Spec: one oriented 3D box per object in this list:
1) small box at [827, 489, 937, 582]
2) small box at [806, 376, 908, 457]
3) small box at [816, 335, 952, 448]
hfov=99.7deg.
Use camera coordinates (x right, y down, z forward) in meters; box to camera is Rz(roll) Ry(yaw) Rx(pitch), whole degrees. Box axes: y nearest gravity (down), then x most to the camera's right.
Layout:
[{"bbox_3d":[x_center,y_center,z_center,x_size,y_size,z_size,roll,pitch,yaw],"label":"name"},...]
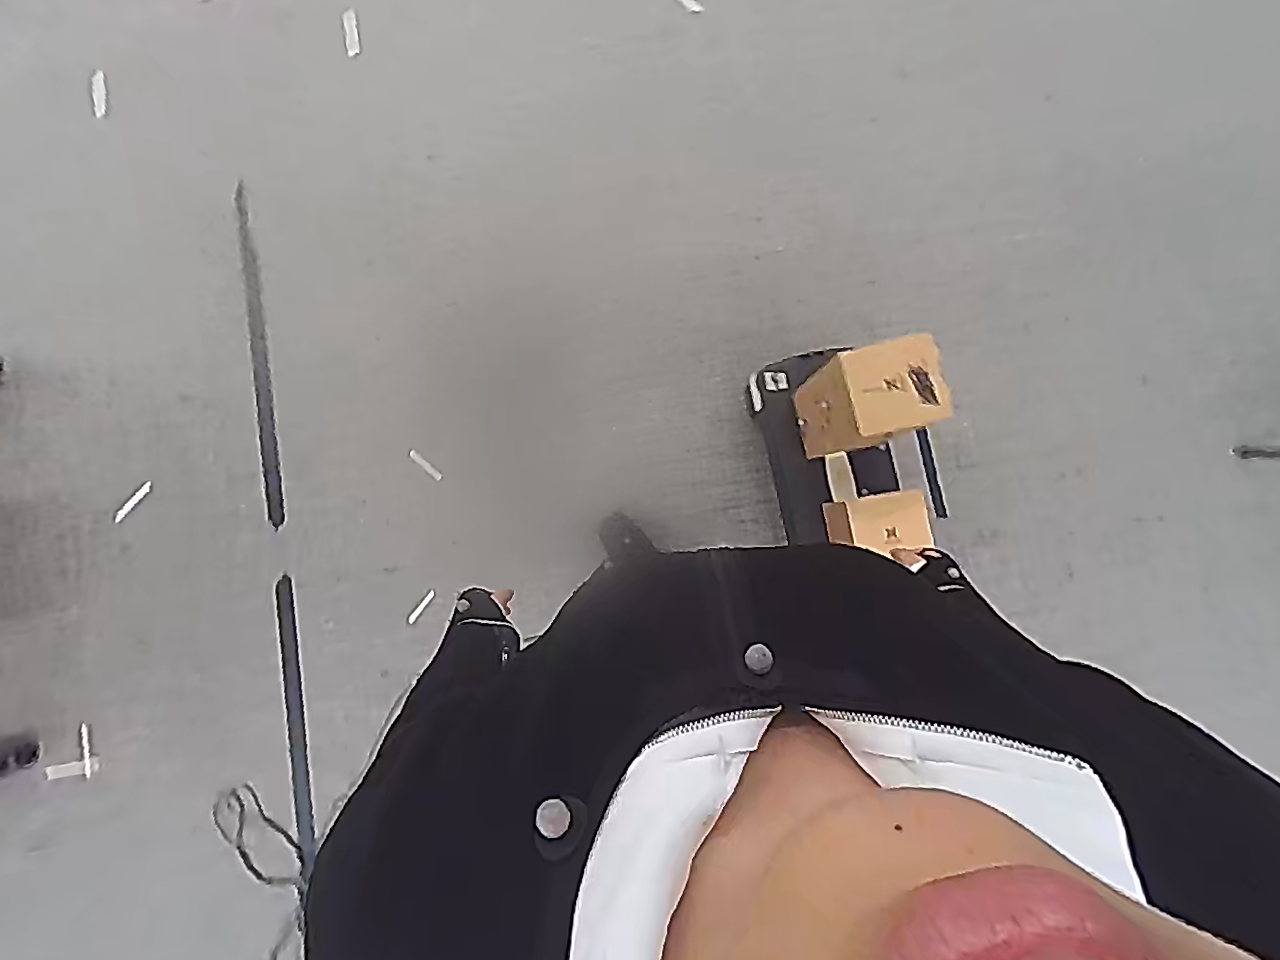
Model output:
[{"bbox_3d":[0.529,0.123,1.213,0.168,0.176,0.179,-10,83,1],"label":"small box"},{"bbox_3d":[0.472,-0.152,1.233,0.179,0.176,0.168,-11,85,1],"label":"small box"},{"bbox_3d":[0.472,-0.167,1.070,0.179,0.176,0.168,-13,86,1],"label":"small box"}]
